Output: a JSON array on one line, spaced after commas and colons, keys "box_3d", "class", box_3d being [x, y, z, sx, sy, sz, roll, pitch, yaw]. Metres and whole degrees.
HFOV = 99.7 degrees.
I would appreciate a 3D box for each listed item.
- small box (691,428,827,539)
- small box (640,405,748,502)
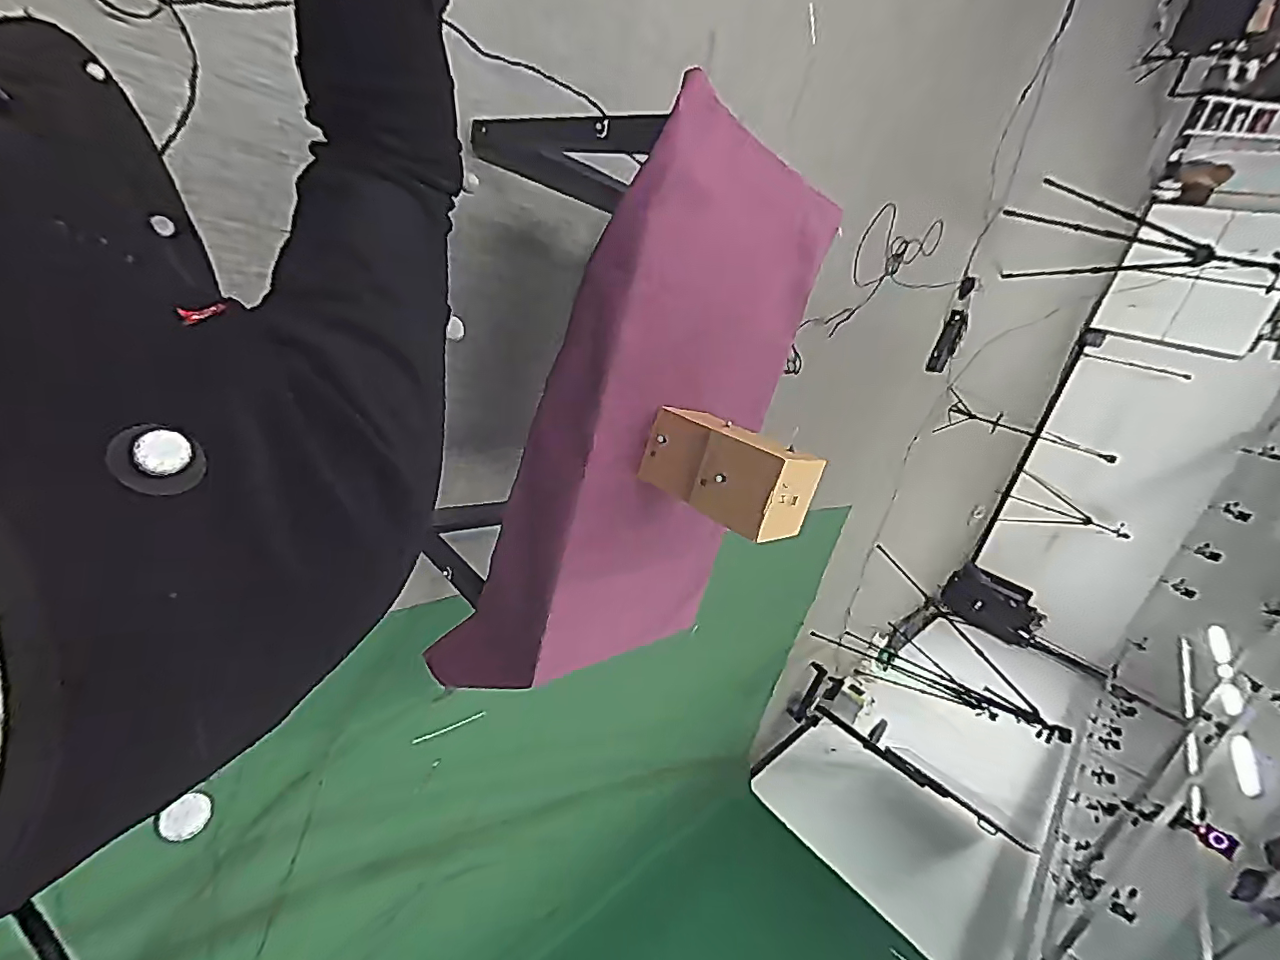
[{"box_3d": [0.234, 0.001, 1.074, 0.179, 0.176, 0.168, -1, 113, -47], "class": "small box"}, {"box_3d": [0.131, -0.059, 1.189, 0.179, 0.176, 0.168, 1, 111, -47], "class": "small box"}]
